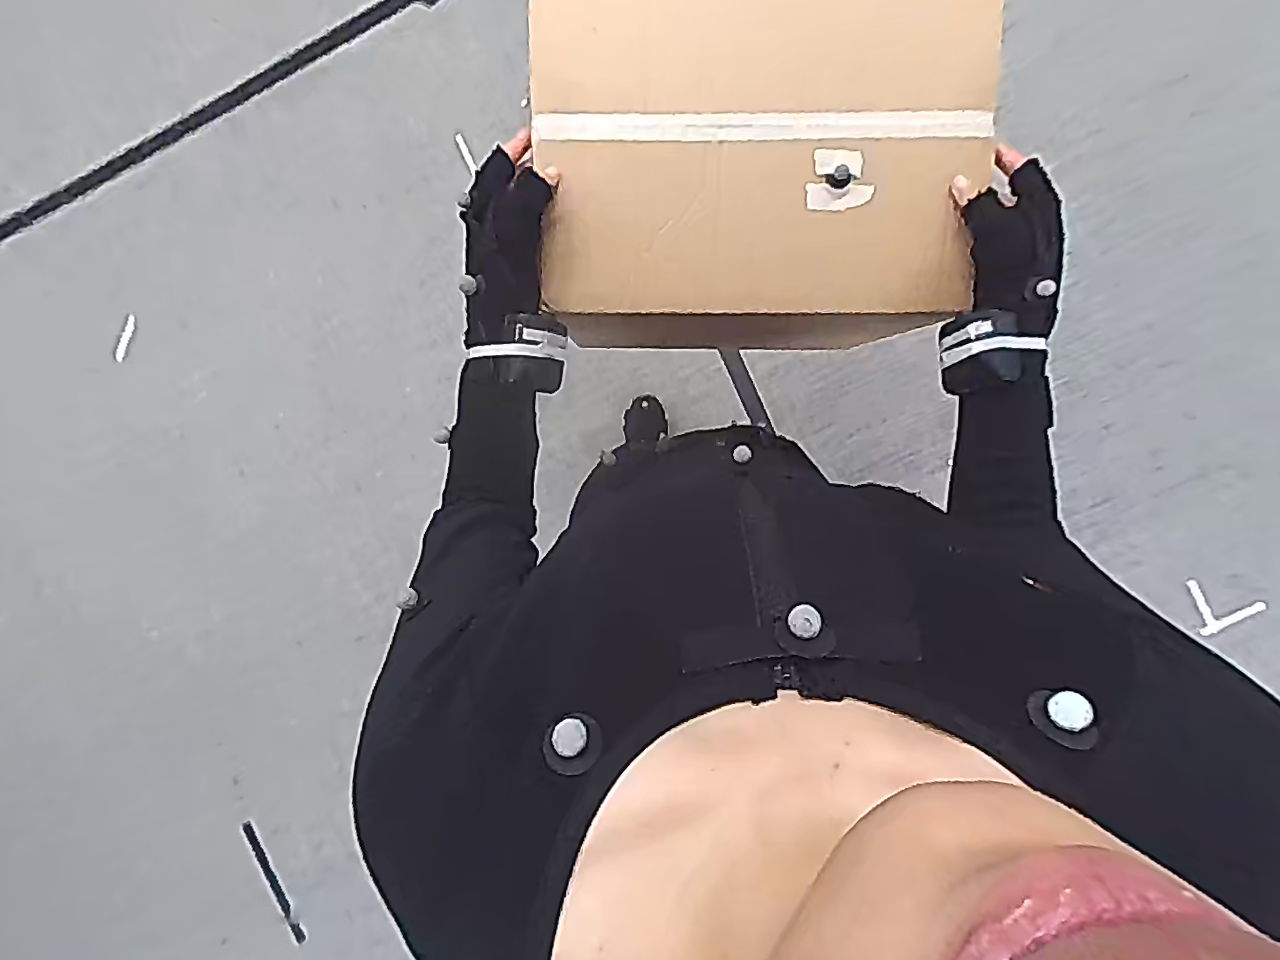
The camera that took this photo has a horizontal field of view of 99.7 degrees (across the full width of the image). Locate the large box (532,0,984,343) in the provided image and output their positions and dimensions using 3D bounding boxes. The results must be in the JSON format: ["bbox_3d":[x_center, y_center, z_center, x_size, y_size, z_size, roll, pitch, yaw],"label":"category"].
[{"bbox_3d":[0.102,-0.340,0.635,0.408,0.320,0.320,1,98,0],"label":"large box"}]
